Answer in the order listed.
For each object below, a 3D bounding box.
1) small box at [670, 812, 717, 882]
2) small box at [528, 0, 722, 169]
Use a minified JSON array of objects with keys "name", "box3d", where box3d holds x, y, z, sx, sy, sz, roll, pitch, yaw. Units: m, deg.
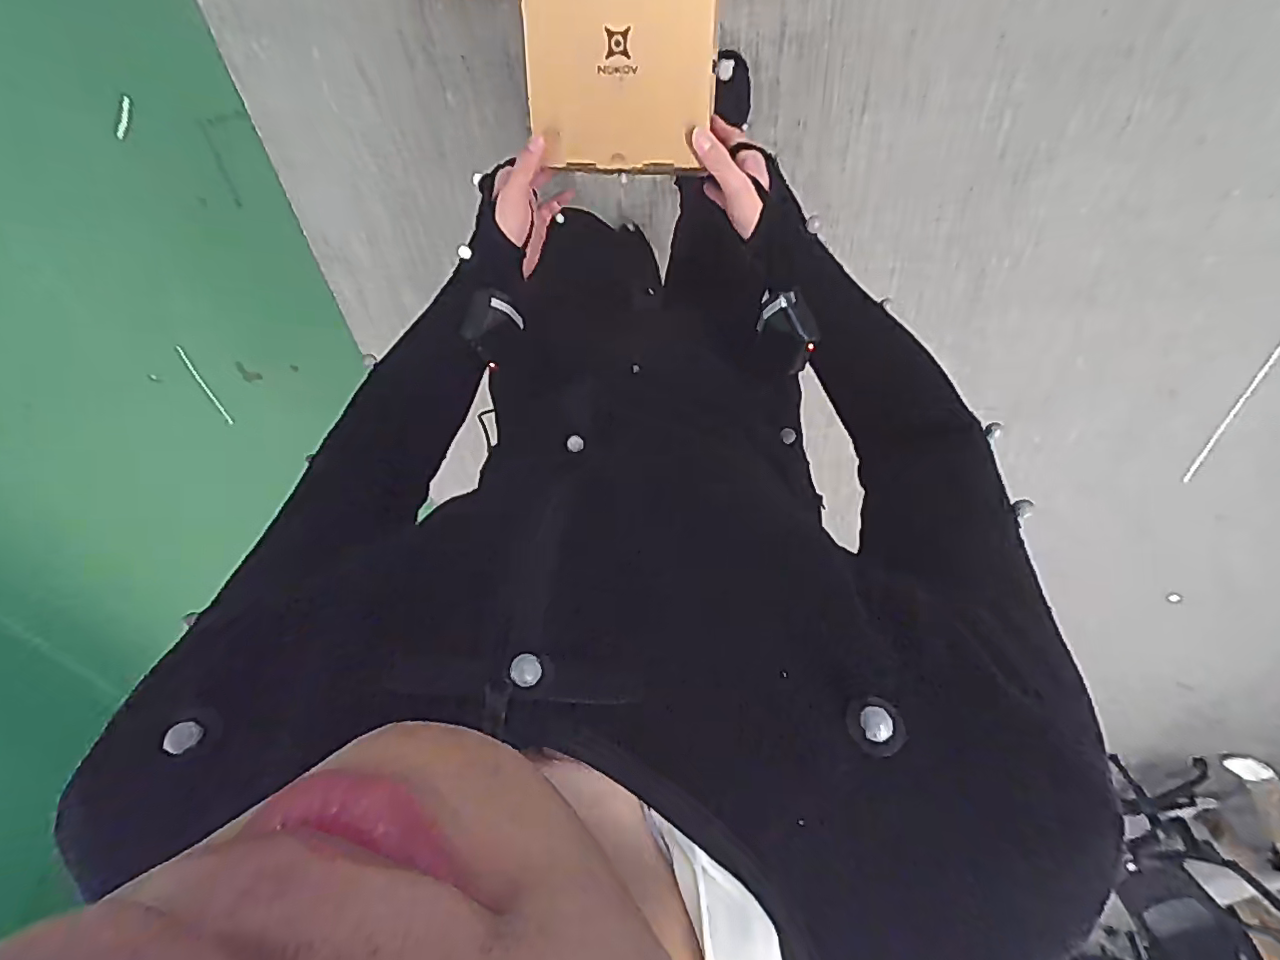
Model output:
[{"name":"small box","box3d":[0.196,1.351,1.994,0.168,0.176,0.179,3,131,8]},{"name":"small box","box3d":[-0.006,-0.413,0.535,0.168,0.176,0.179,4,119,6]}]
